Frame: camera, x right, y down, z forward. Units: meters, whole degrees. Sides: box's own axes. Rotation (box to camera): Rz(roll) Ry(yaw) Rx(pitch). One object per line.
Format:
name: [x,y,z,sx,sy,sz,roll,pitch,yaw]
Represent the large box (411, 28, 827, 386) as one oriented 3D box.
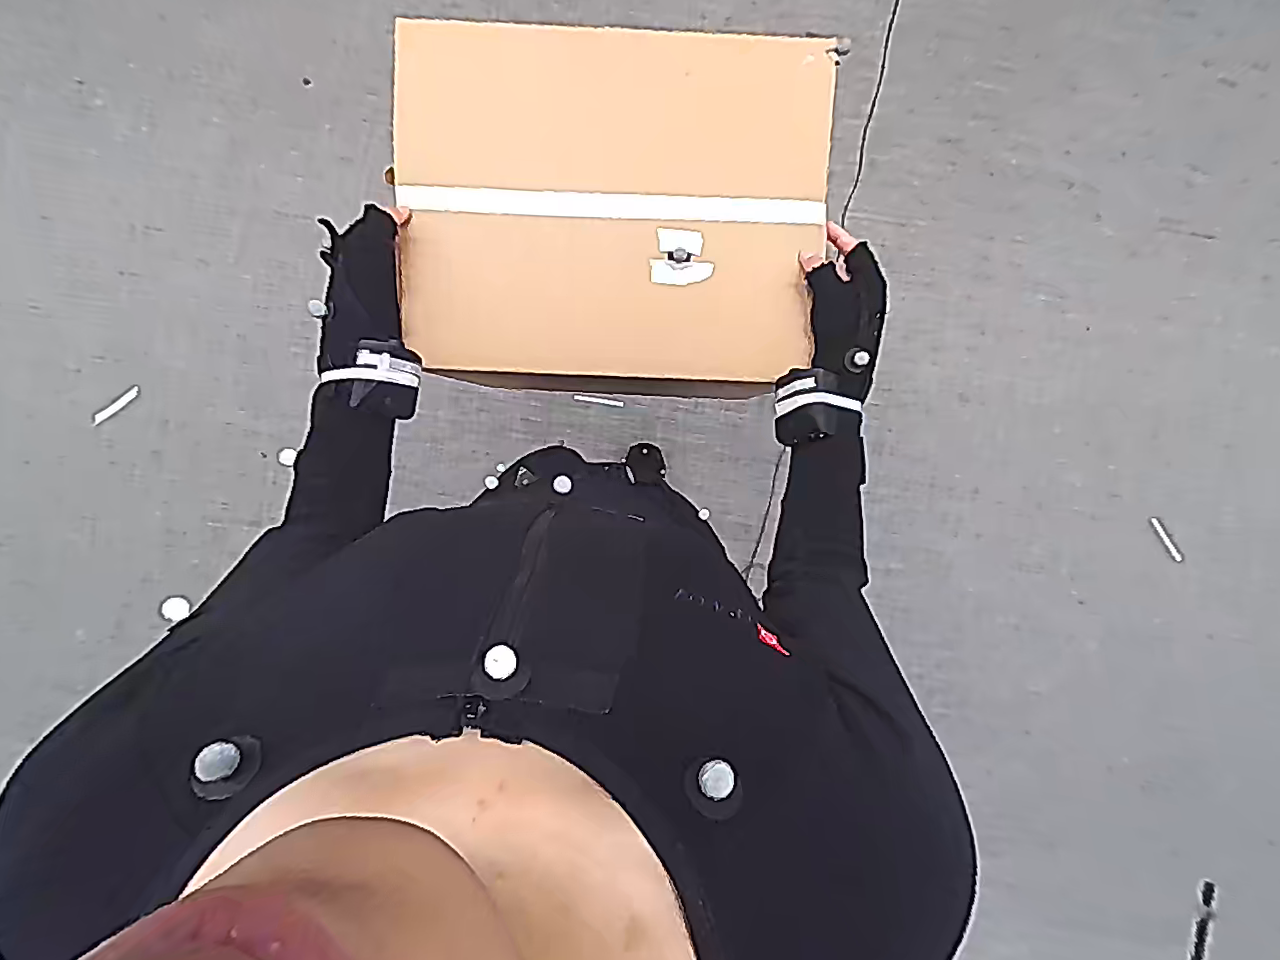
large box: [-0.026,-0.286,0.676,0.408,0.320,0.320,2,97,-1]
